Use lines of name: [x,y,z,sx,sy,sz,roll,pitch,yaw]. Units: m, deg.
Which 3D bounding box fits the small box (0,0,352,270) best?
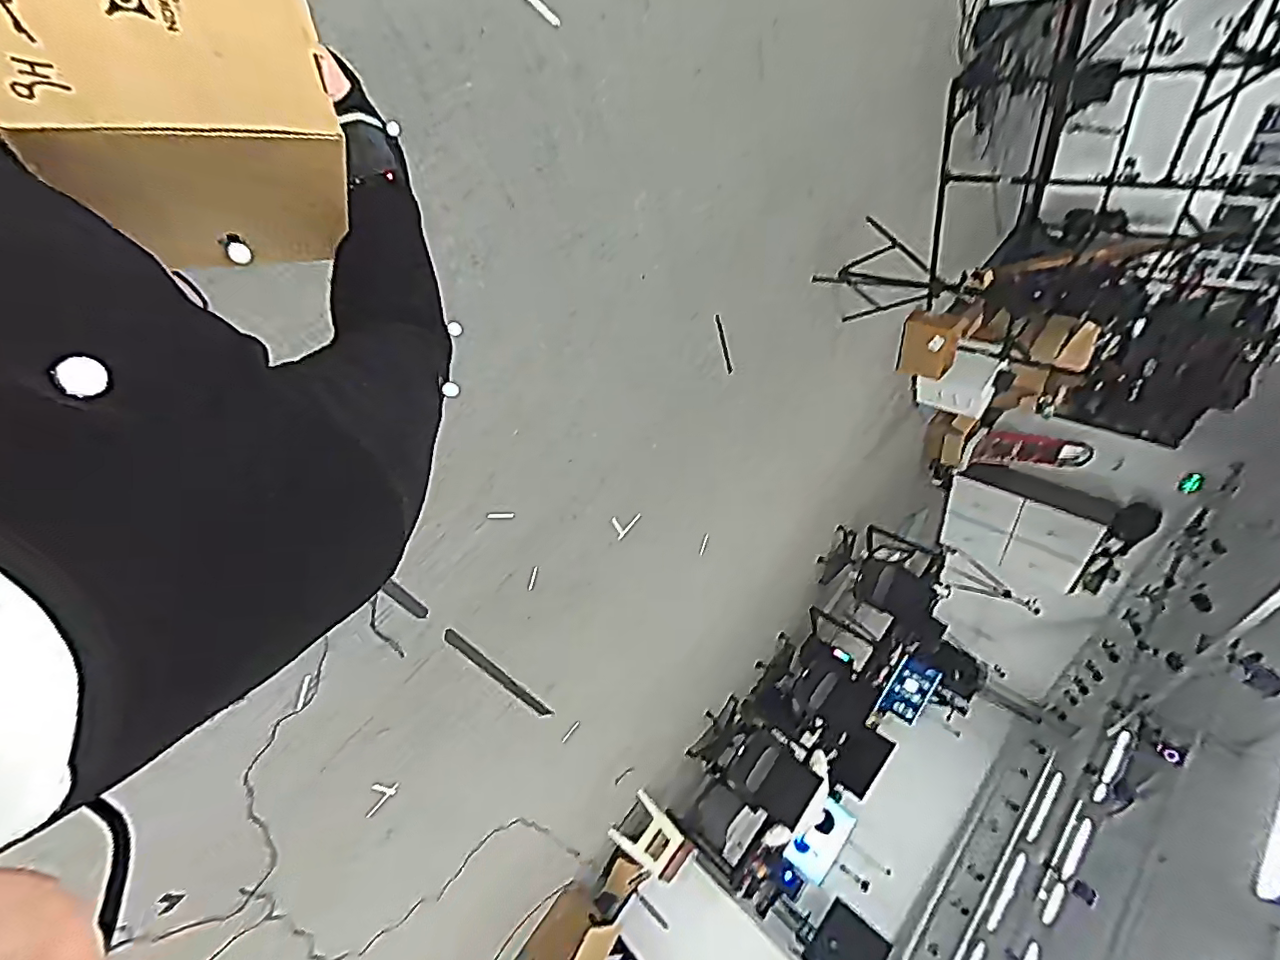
small box: [-0.343,-0.283,0.419,0.179,0.176,0.168,-18,90,-29]
